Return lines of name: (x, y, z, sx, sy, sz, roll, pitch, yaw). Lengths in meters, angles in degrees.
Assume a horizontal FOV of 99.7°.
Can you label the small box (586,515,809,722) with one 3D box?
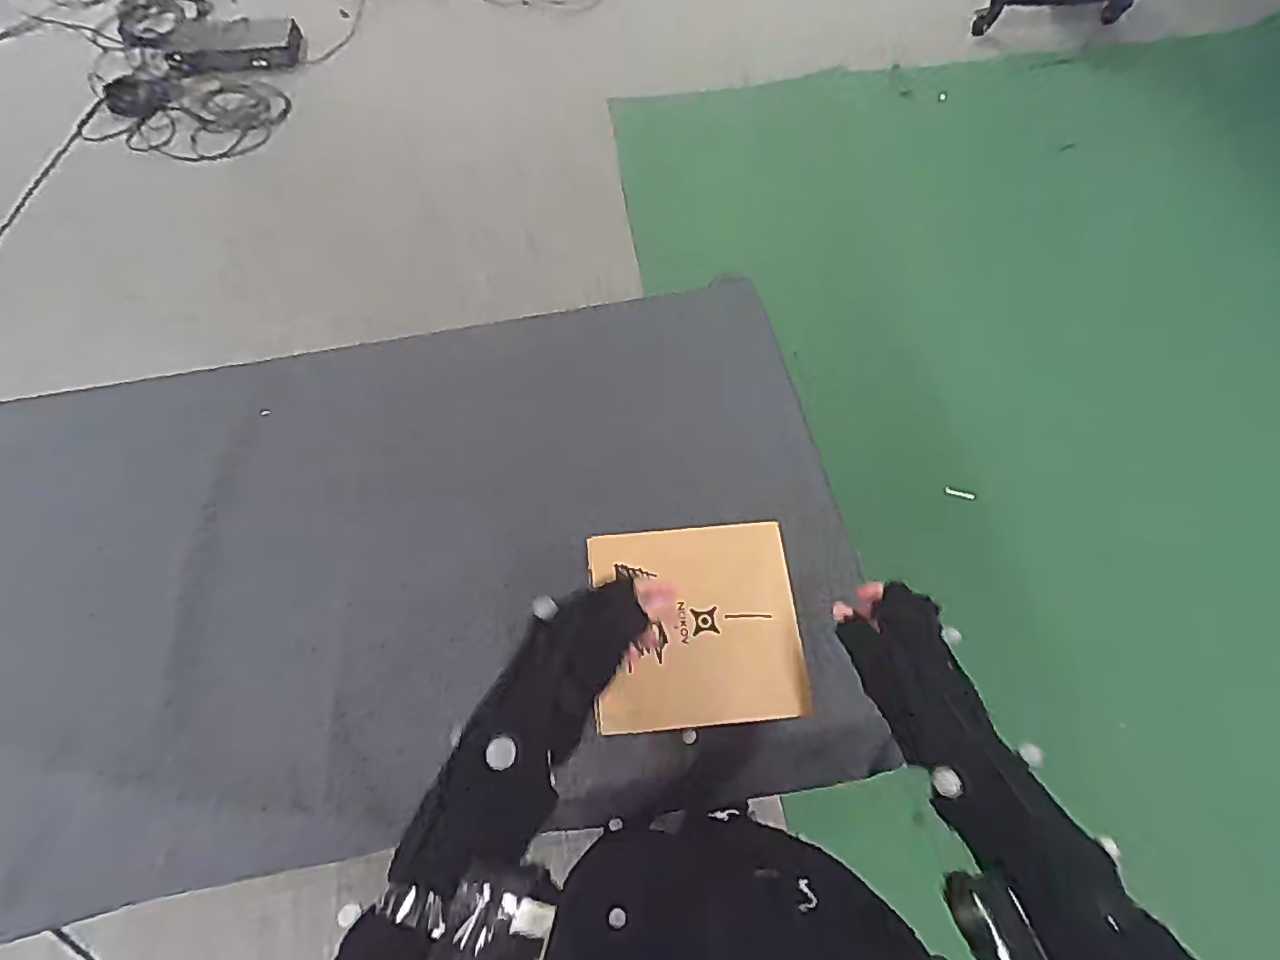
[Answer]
small box: (0.044, 0.144, 0.532, 0.179, 0.176, 0.168, -4, 67, -2)
